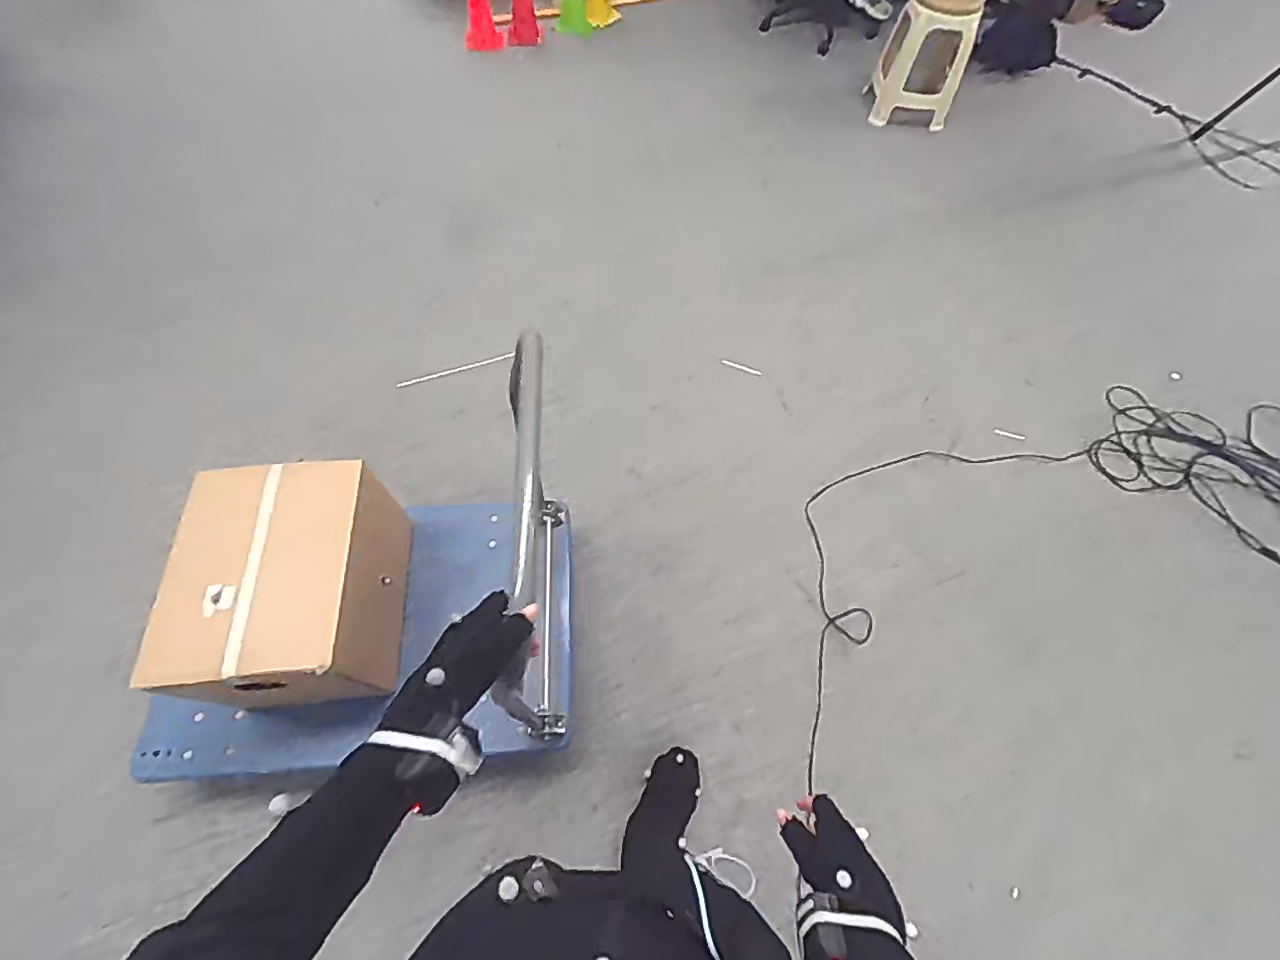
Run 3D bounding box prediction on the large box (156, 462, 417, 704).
[{"bbox_3d":[-0.670,0.217,1.112,0.320,0.320,0.408,-5,63,-5],"label":"large box"}]
